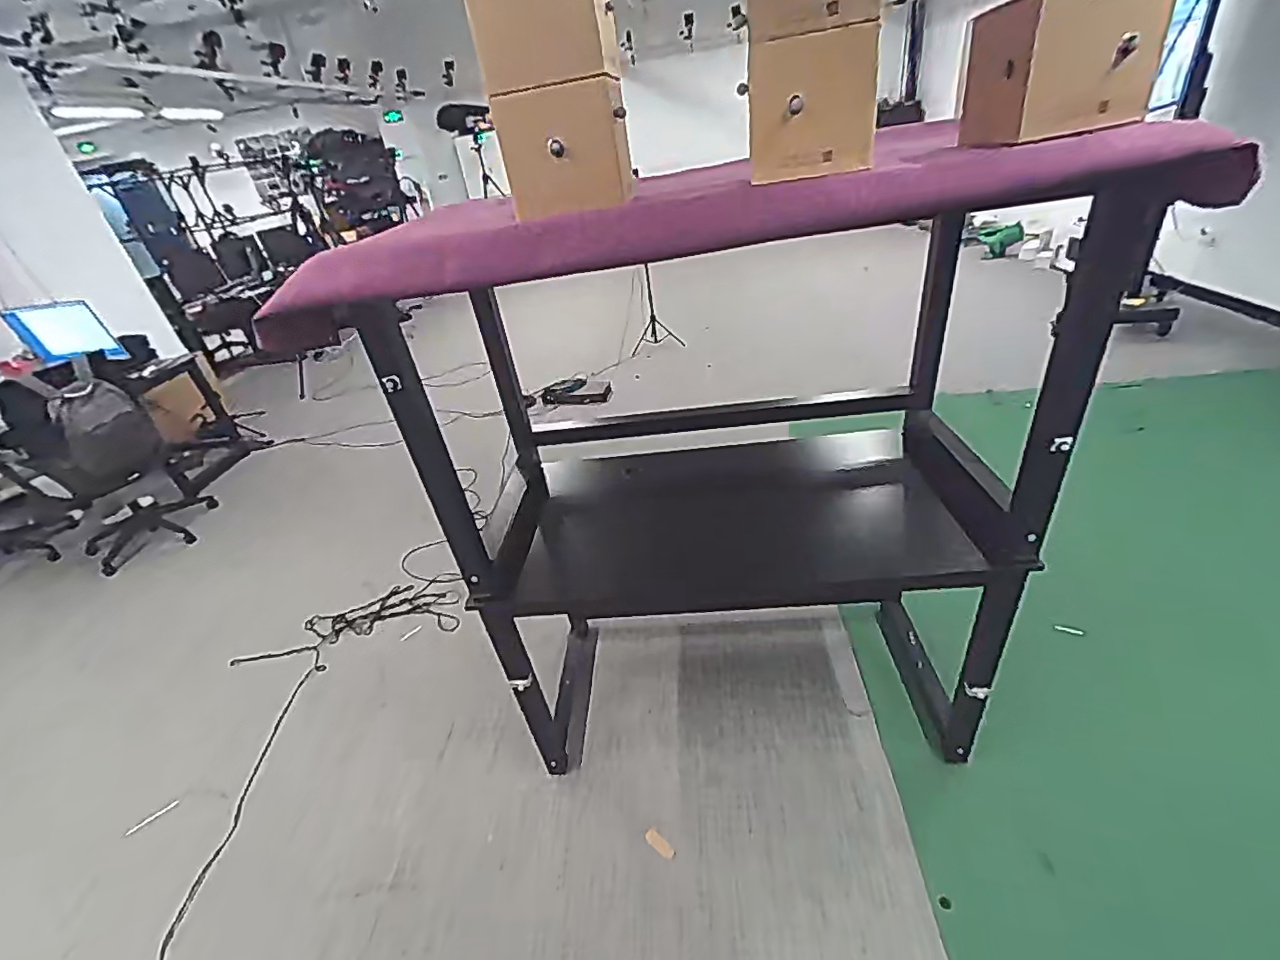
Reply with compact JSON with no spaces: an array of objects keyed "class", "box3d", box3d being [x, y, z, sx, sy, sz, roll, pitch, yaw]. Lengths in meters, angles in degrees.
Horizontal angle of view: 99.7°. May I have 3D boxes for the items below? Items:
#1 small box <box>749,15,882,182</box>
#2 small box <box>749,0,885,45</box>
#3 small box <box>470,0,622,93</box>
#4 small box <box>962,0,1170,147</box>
[{"class":"small box","box3d":[0.249,-0.547,0.798,0.168,0.176,0.179,-2,31,12]},{"class":"small box","box3d":[0.229,-0.687,0.715,0.168,0.176,0.179,-1,32,12]},{"class":"small box","box3d":[-0.128,-0.666,0.768,0.179,0.176,0.168,-4,32,10]},{"class":"small box","box3d":[0.588,-0.583,0.763,0.168,0.176,0.179,-6,30,6]}]
